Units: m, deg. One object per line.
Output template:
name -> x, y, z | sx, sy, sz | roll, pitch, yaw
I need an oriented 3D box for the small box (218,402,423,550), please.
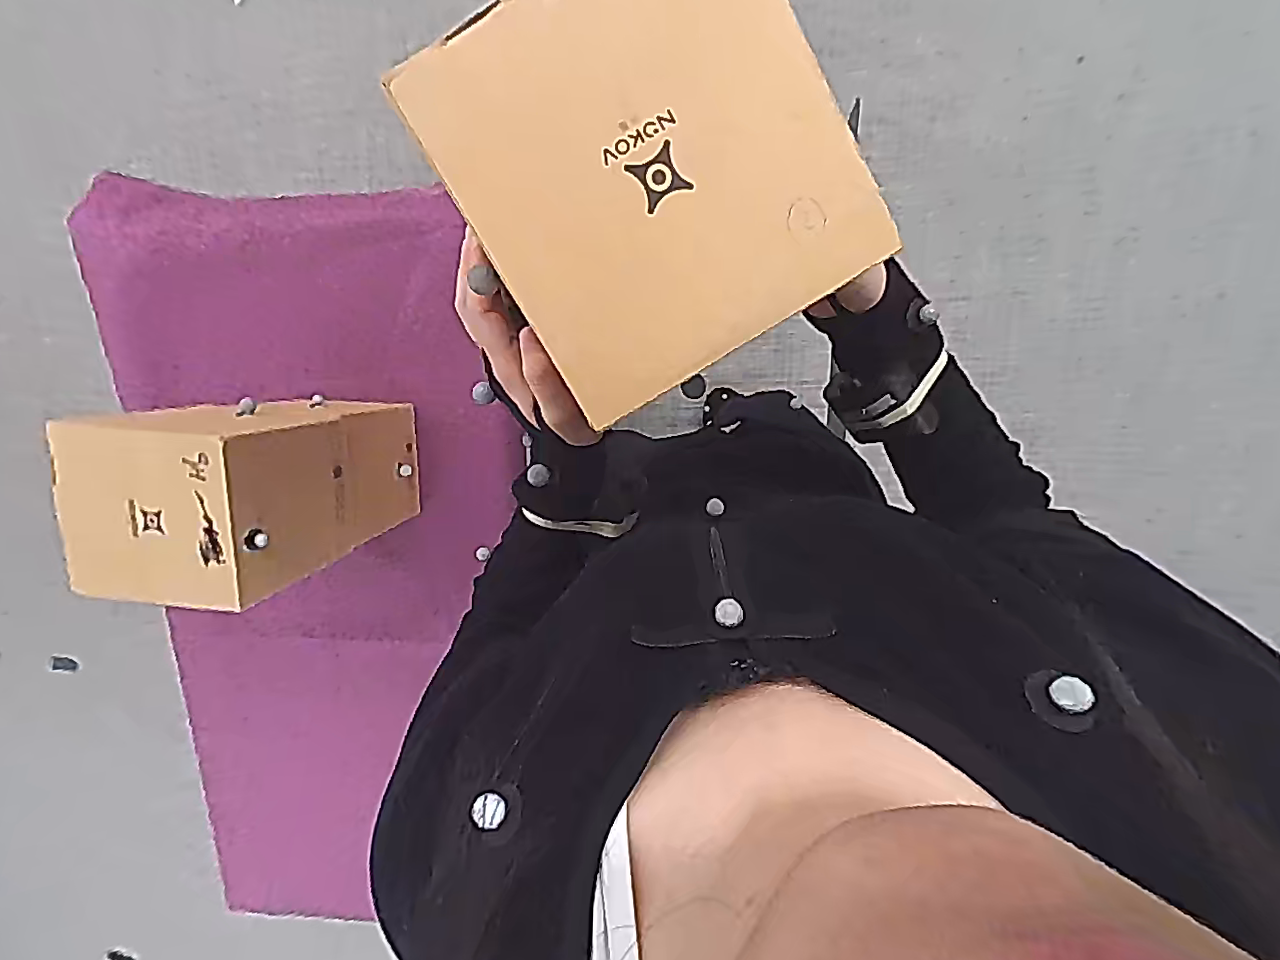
small box -> -0.419, -0.015, 0.727 | 0.179, 0.176, 0.168 | 3, 103, 6

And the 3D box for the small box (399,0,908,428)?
small box -> 0.008, -0.149, 0.314 | 0.168, 0.176, 0.179 | -31, 98, 2

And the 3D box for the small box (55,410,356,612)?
small box -> -0.433, 0.018, 0.567 | 0.179, 0.176, 0.168 | 5, 103, 6
